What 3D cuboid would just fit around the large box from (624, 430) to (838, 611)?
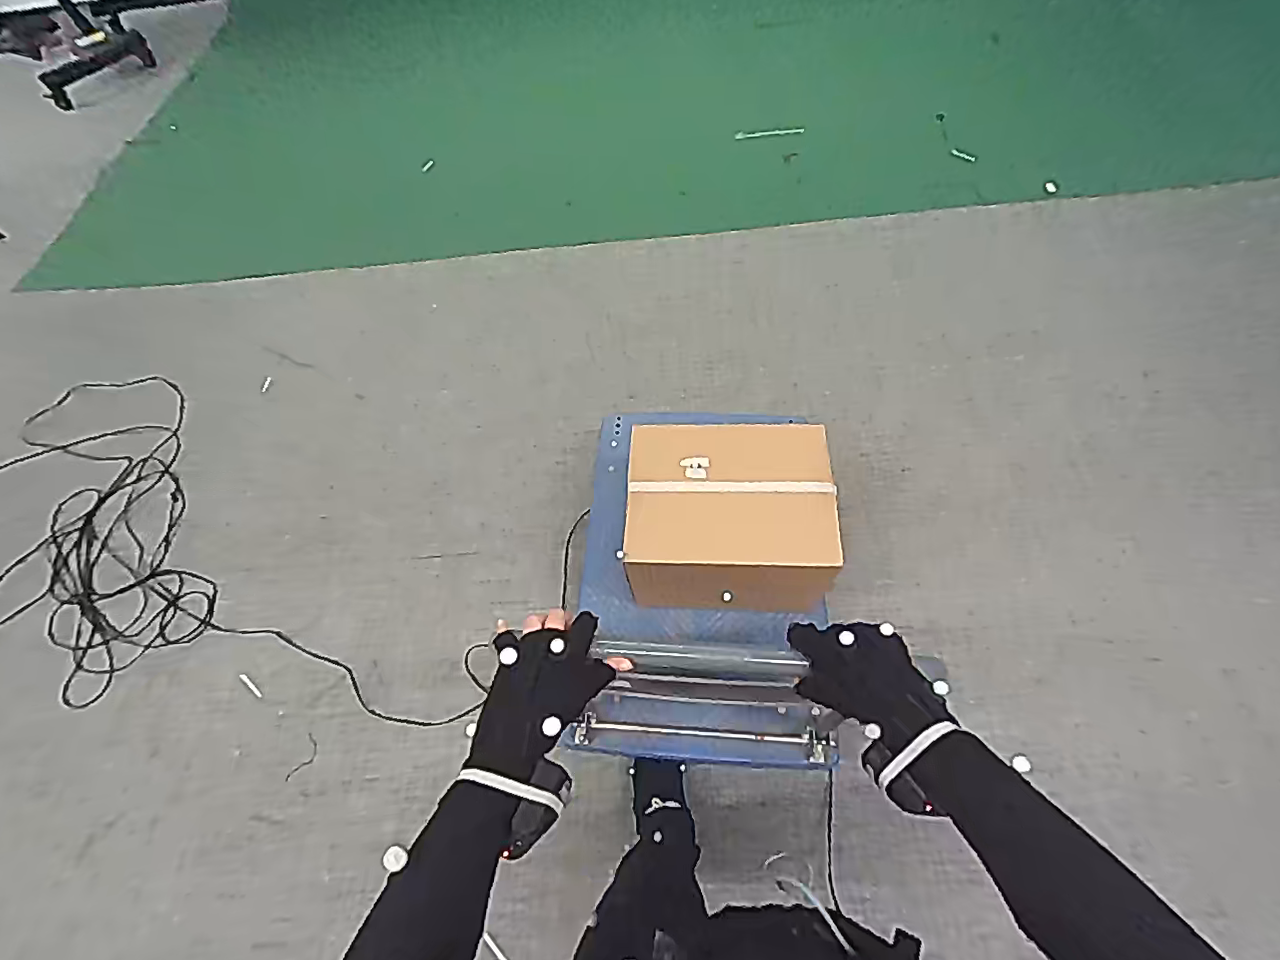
[{"bbox_3d":[0.190,0.104,1.210,0.408,0.320,0.320,0,60,7],"label":"large box"}]
